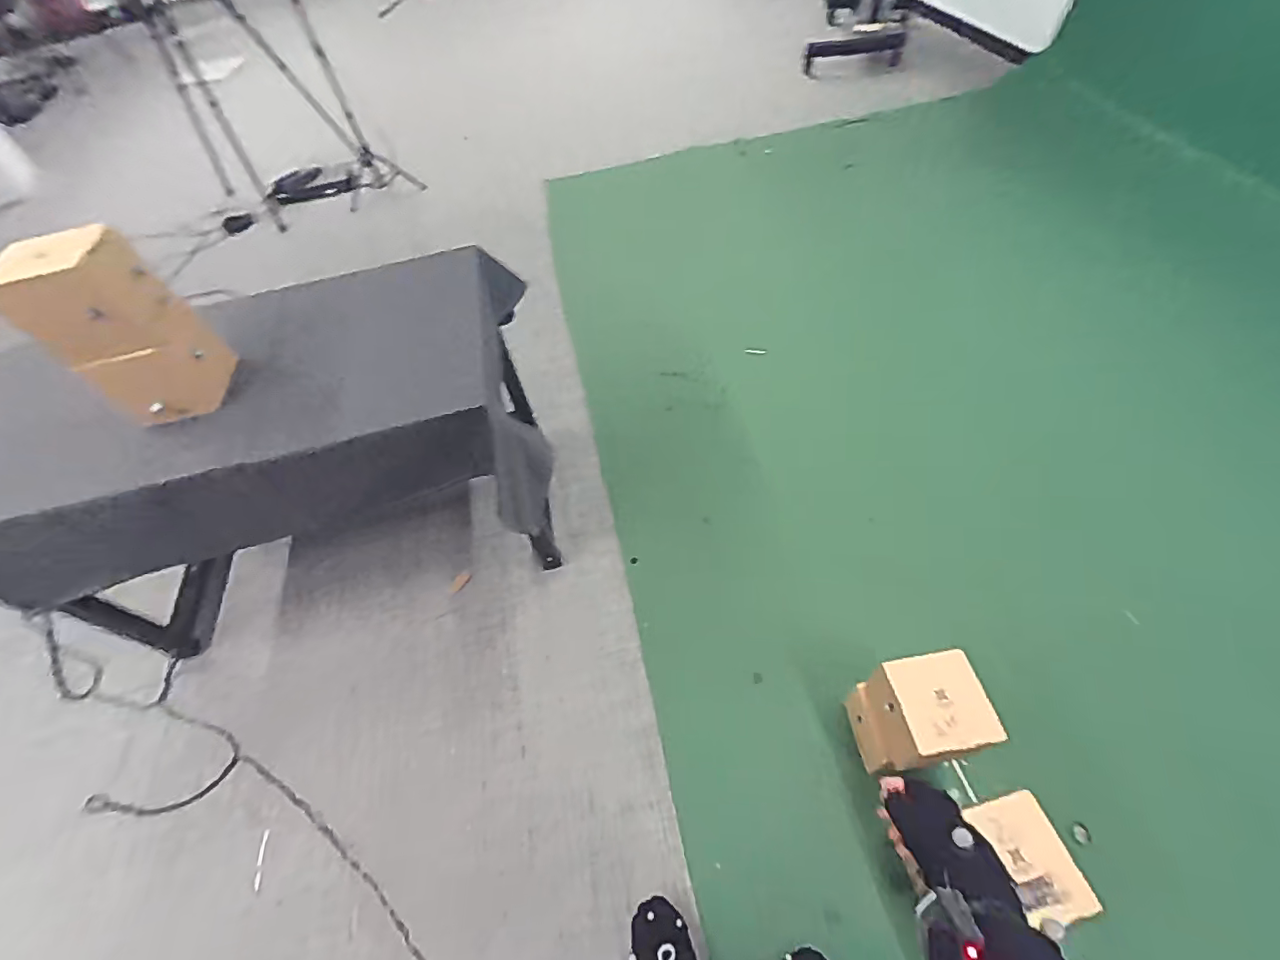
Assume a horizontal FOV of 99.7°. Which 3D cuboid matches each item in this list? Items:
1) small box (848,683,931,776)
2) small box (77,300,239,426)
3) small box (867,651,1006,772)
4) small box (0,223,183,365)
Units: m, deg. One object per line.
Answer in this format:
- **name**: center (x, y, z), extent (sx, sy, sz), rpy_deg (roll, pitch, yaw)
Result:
- **small box**: center (0.591, 0.564, 1.236), extent (0.179, 0.176, 0.168), rpy_deg (-9, 53, 0)
- **small box**: center (-0.987, -0.242, 1.131), extent (0.168, 0.176, 0.179), rpy_deg (-13, 54, -2)
- **small box**: center (0.584, 0.471, 1.098), extent (0.168, 0.176, 0.179), rpy_deg (-10, 53, 0)
- **small box**: center (-1.010, -0.341, 1.002), extent (0.179, 0.176, 0.168), rpy_deg (-15, 52, -3)
